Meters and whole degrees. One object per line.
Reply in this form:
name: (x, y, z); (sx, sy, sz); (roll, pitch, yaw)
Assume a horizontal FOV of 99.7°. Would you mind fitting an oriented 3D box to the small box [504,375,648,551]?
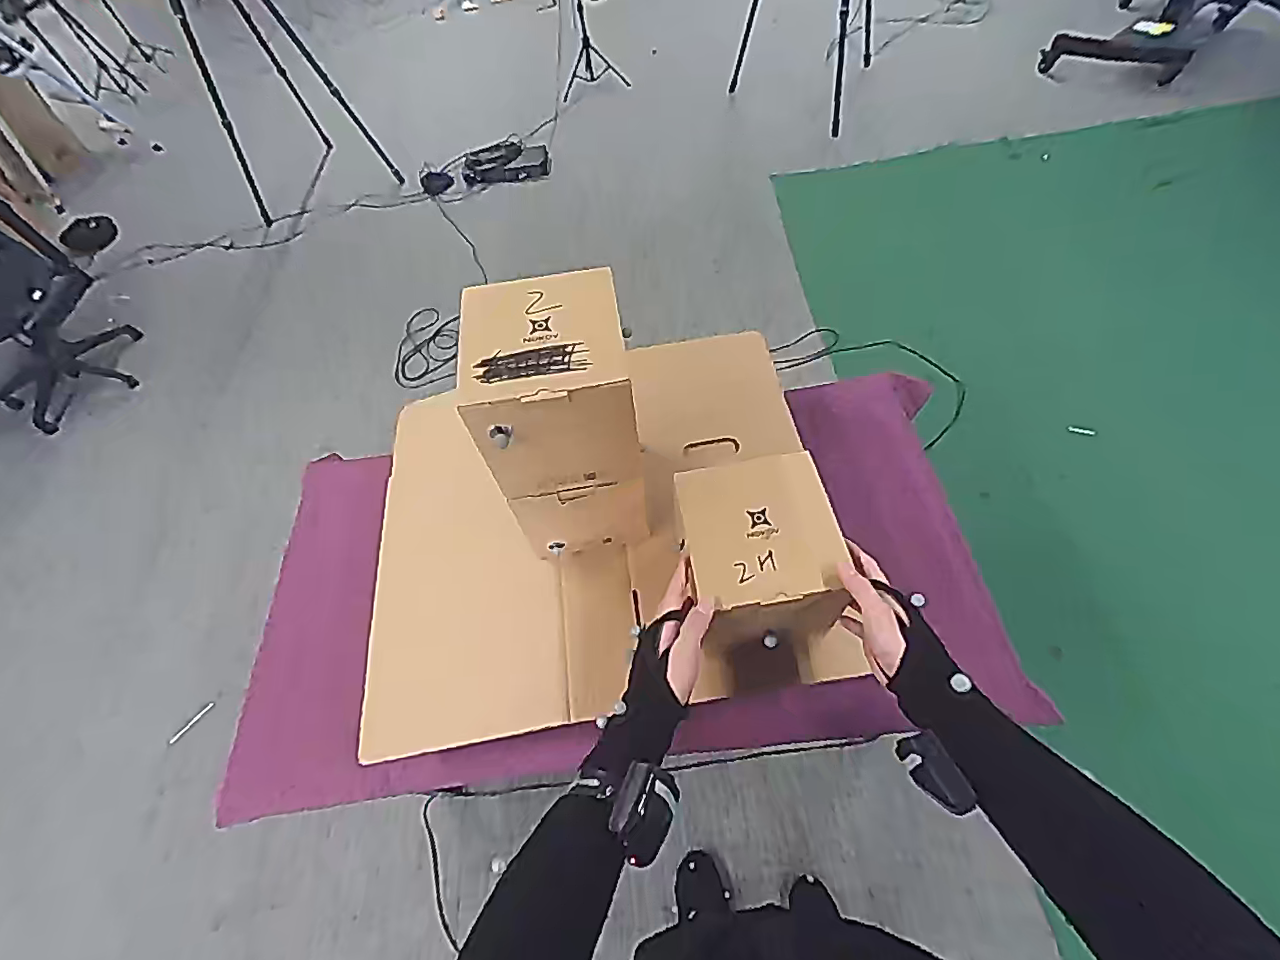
small box: (-0.083, -0.014, 0.745); (0.168, 0.176, 0.179); (-9, 57, -1)
